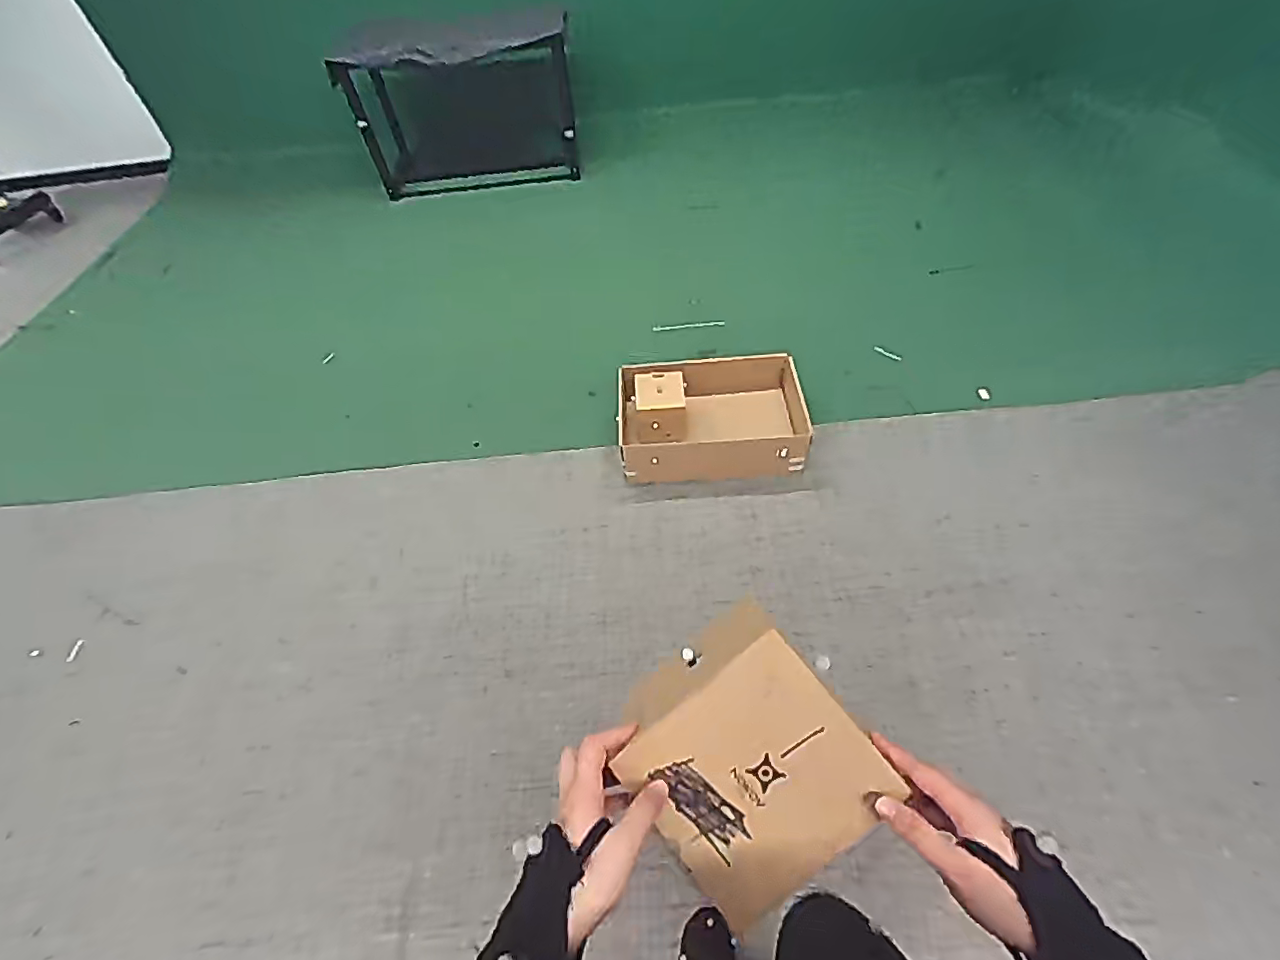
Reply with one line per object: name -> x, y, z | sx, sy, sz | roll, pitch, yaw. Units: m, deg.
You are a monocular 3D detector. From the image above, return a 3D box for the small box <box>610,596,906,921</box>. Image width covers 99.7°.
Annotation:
small box -> 0.098, 0.234, 0.504 | 0.179, 0.176, 0.168 | -39, 86, 2

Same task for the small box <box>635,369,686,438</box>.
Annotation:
small box -> 0.071, -0.260, 1.879 | 0.168, 0.176, 0.179 | -4, 53, 2
